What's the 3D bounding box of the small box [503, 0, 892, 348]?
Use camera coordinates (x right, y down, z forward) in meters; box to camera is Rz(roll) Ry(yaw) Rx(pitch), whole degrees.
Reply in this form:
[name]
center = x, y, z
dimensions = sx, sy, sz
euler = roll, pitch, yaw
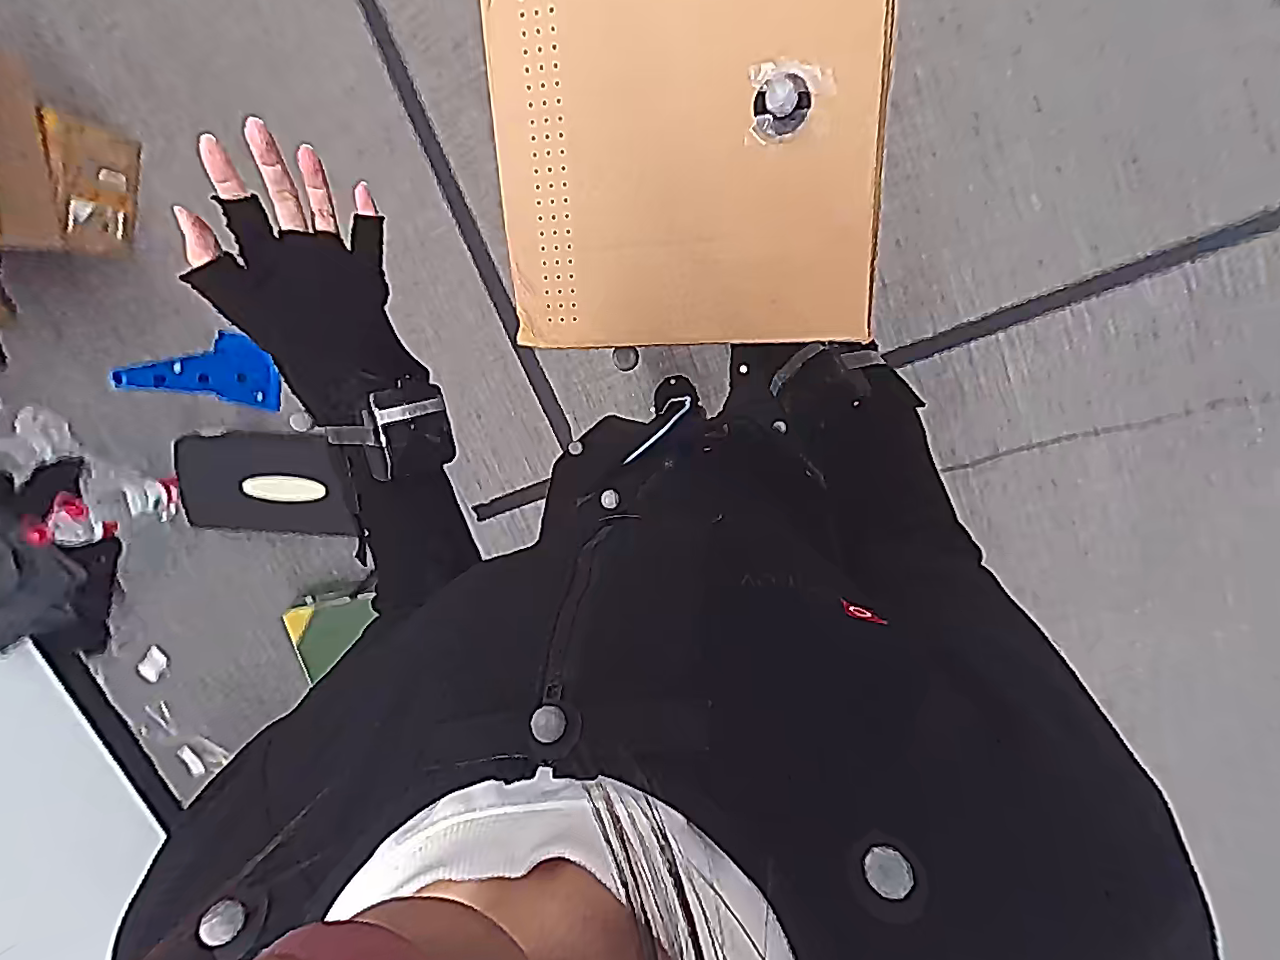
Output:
[small box]
center = 0.033, -0.172, 0.312
dimensions = 0.176, 0.168, 0.179
euler = 3, 108, 13
